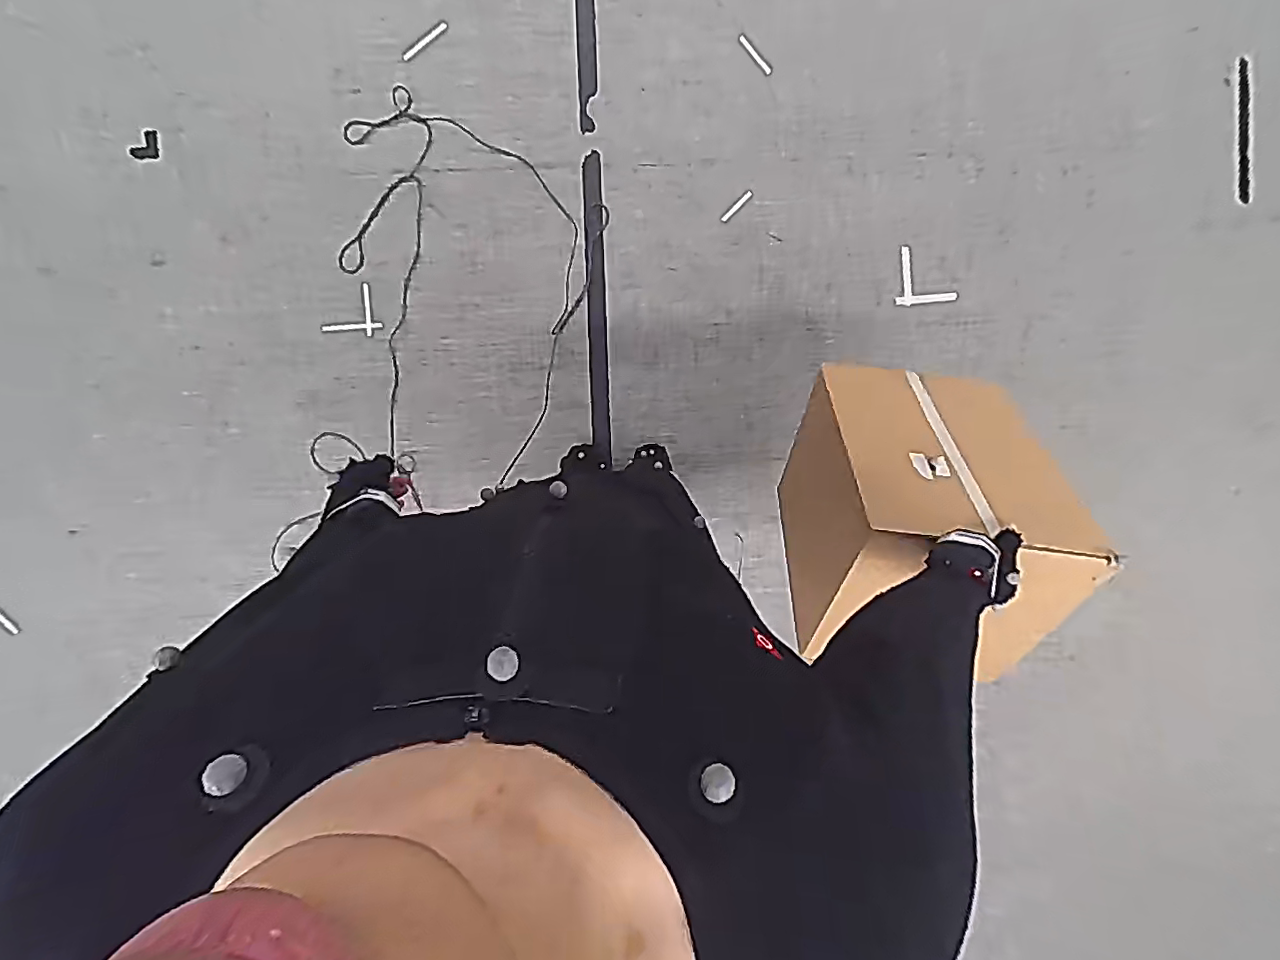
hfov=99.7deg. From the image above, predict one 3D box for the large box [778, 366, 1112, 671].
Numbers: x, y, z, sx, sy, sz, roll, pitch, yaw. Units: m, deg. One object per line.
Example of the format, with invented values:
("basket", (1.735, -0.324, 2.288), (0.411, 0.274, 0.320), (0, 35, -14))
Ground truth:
("large box", (0.448, 0.056, 0.927), (0.320, 0.408, 0.320), (6, 134, 0))
